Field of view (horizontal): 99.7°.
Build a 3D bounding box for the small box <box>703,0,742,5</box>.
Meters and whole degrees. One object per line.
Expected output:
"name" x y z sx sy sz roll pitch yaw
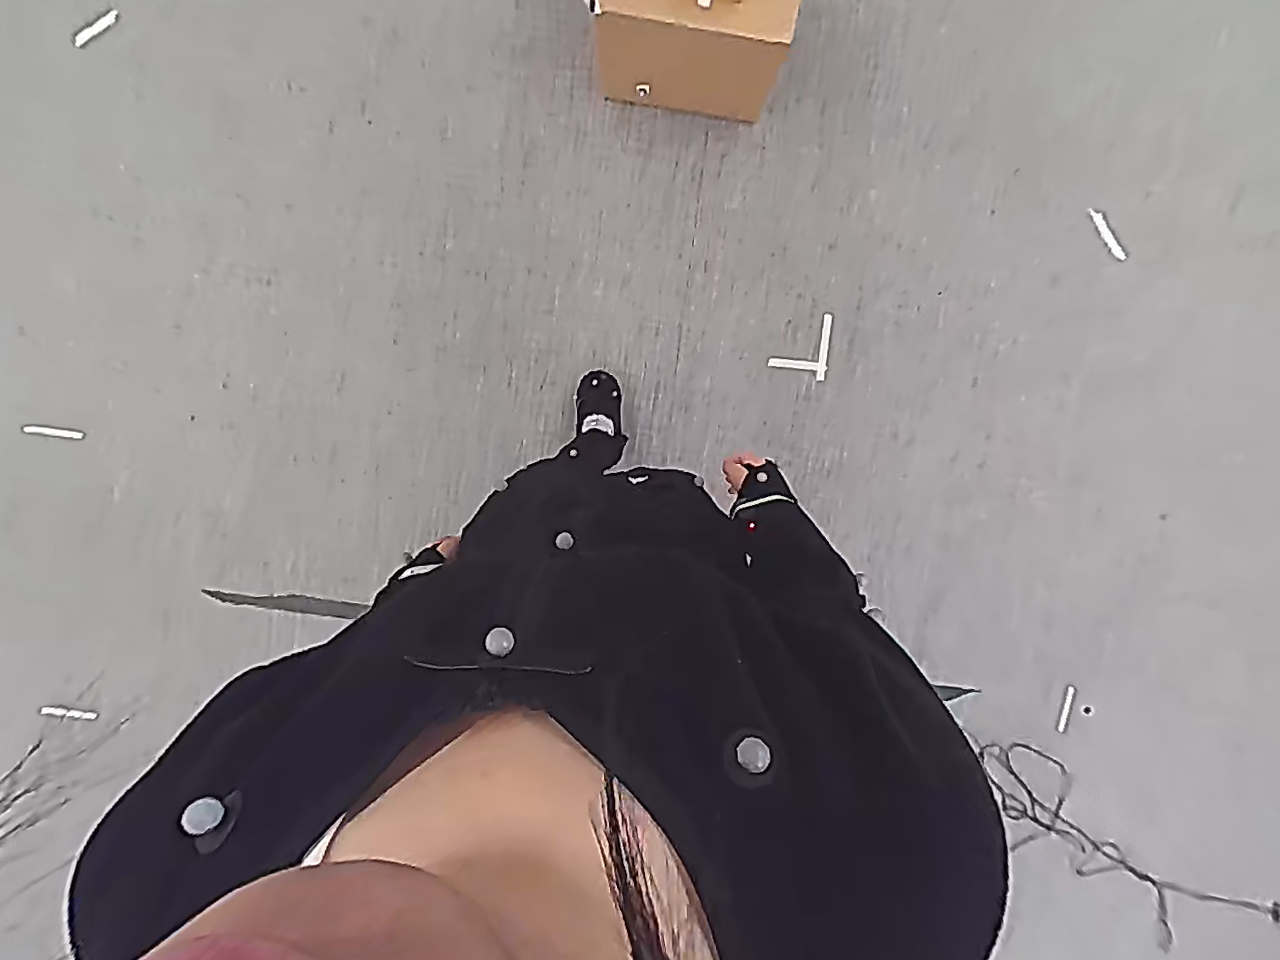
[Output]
"small box" 0.130 -1.010 0.974 0.179 0.176 0.168 6 98 -3
